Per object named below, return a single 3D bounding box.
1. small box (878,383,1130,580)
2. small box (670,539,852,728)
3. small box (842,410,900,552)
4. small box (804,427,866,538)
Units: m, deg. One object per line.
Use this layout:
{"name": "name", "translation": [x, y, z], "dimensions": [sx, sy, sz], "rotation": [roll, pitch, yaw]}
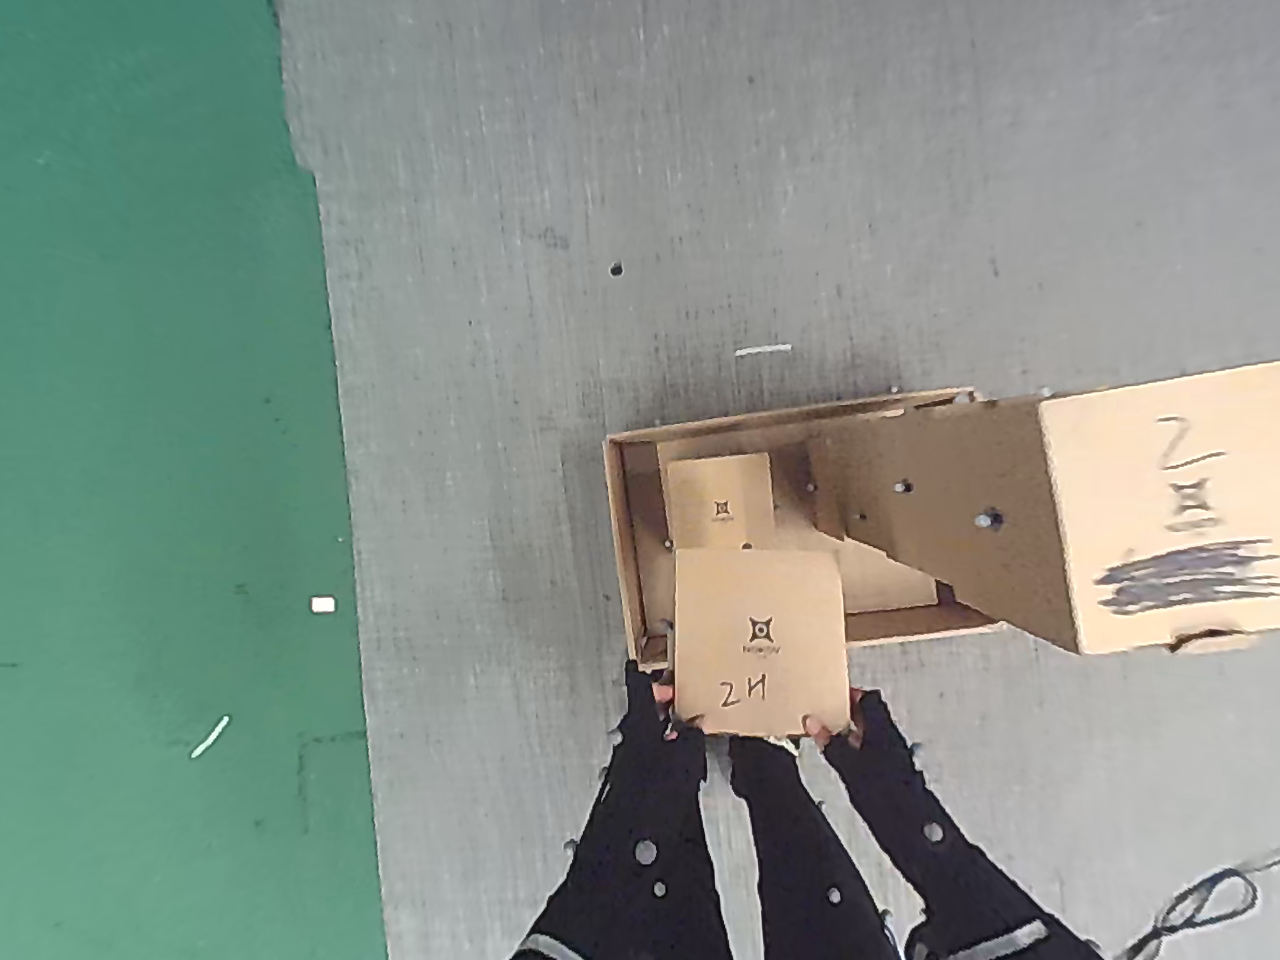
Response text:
{"name": "small box", "translation": [0.376, 0.000, 0.591], "dimensions": [0.168, 0.176, 0.179], "rotation": [-7, 90, 4]}
{"name": "small box", "translation": [0.120, 0.163, 0.602], "dimensions": [0.168, 0.176, 0.179], "rotation": [1, 78, 1]}
{"name": "small box", "translation": [0.389, -0.009, 0.738], "dimensions": [0.168, 0.176, 0.179], "rotation": [-8, 90, 5]}
{"name": "small box", "translation": [0.389, -0.009, 0.920], "dimensions": [0.168, 0.176, 0.179], "rotation": [-11, 90, 6]}
